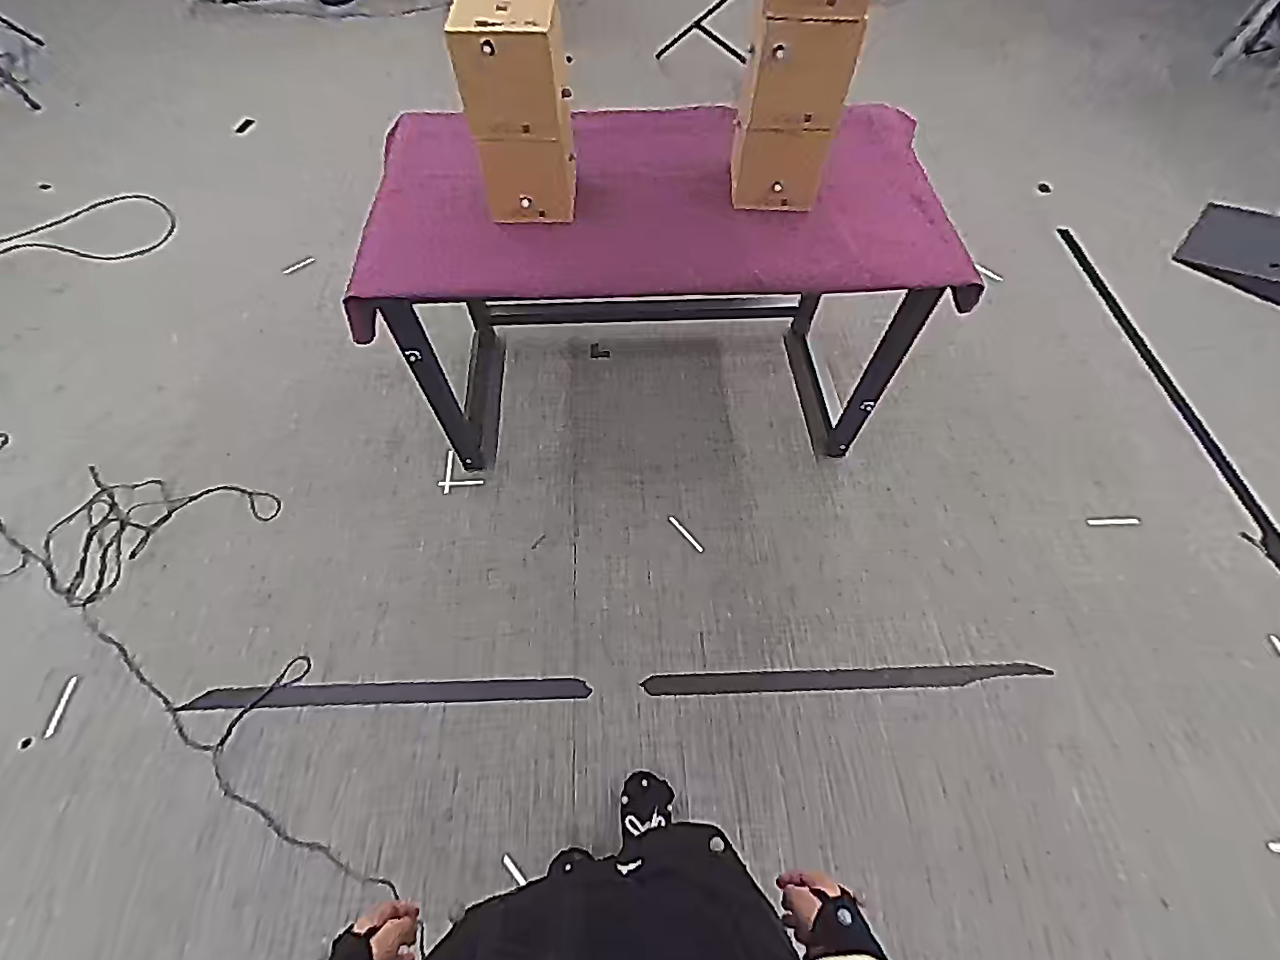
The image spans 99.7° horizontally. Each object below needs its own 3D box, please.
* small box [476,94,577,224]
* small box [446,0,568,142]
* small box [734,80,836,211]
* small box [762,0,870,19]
[{"bbox_3d":[-0.218,-0.646,1.090,0.168,0.176,0.179,-1,61,0],"label":"small box"},{"bbox_3d":[-0.219,-0.726,0.947,0.168,0.176,0.179,0,60,0],"label":"small box"},{"bbox_3d":[0.287,-0.686,1.113,0.168,0.176,0.179,2,61,2],"label":"small box"},{"bbox_3d":[0.283,-0.842,0.826,0.168,0.176,0.179,5,59,2],"label":"small box"}]
